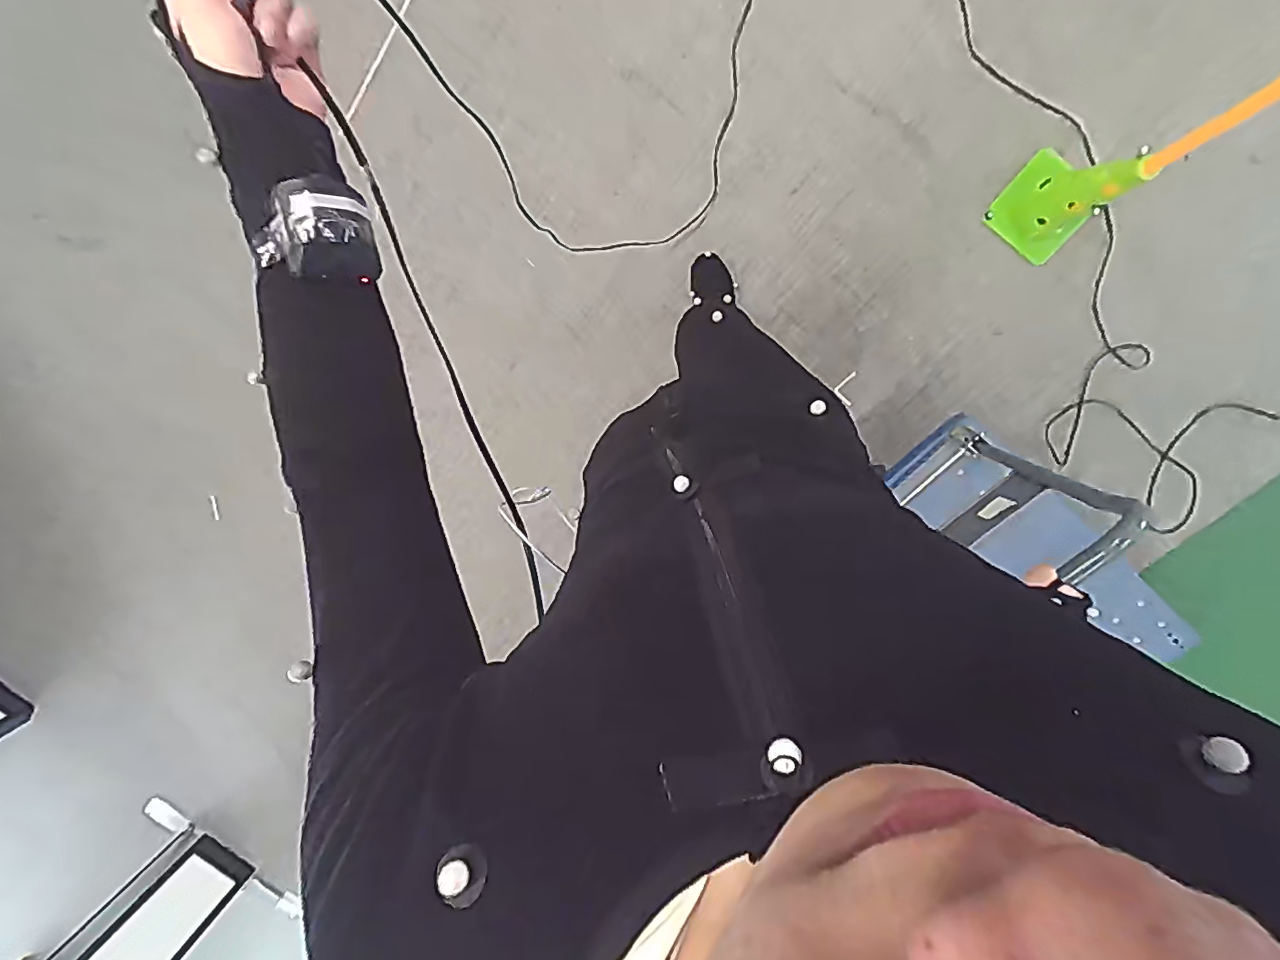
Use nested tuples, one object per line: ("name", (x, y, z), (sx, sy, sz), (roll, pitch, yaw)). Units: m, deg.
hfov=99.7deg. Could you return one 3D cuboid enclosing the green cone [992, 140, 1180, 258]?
("green cone", (0.960, -0.624, 1.130), (0.200, 0.368, 0.202), (37, 107, -3))
